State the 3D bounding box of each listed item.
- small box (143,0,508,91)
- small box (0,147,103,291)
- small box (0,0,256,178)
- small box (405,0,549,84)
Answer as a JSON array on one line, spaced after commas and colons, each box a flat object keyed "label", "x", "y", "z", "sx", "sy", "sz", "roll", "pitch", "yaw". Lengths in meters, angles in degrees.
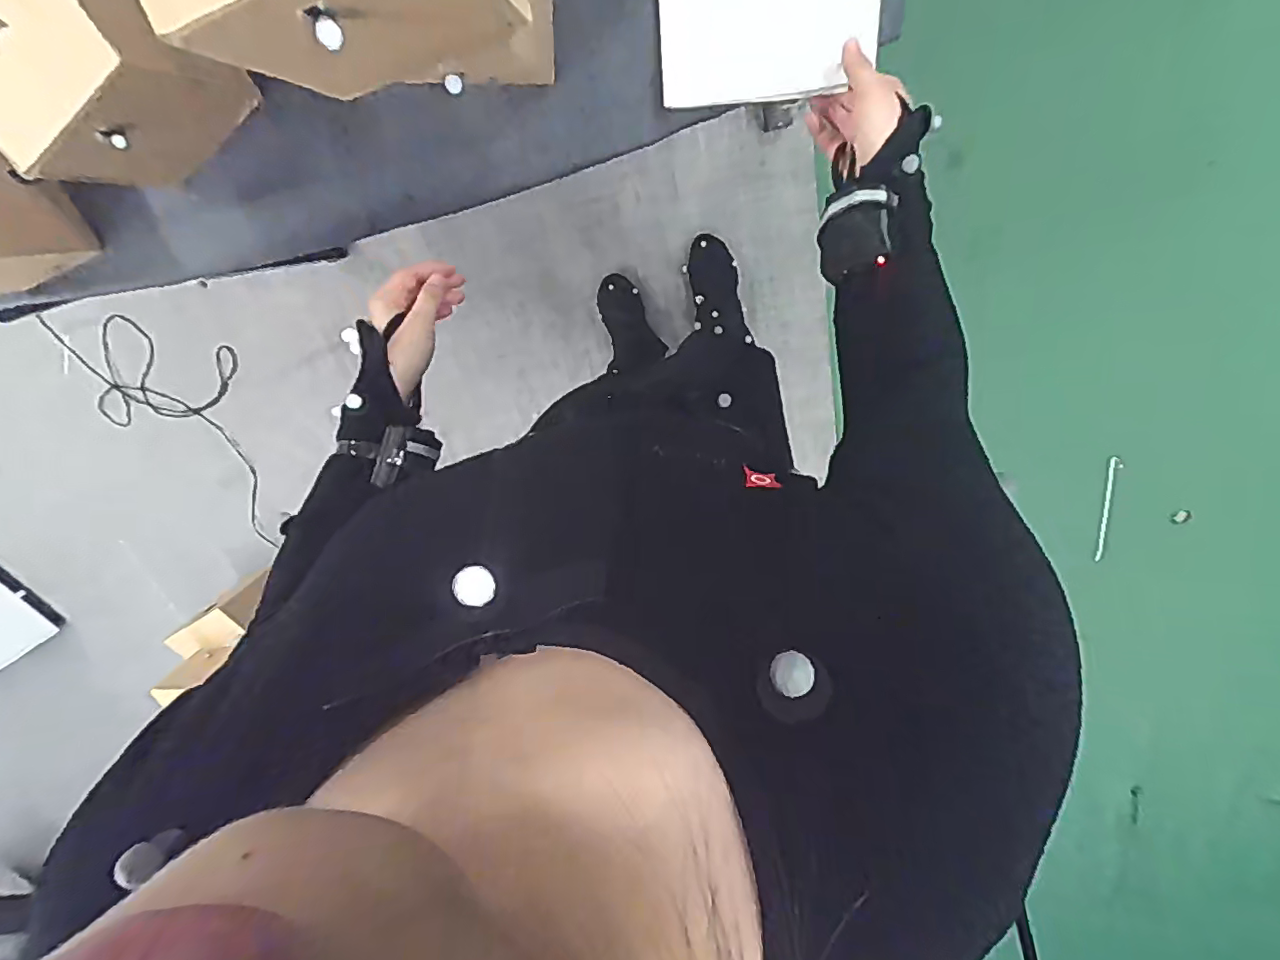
[{"label": "small box", "x": -0.196, "y": -0.367, "z": 0.325, "sx": 0.179, "sy": 0.176, "sz": 0.168, "roll": -10, "pitch": 114, "yaw": 14}, {"label": "small box", "x": -0.813, "y": -0.323, "z": 0.629, "sx": 0.168, "sy": 0.176, "sz": 0.179, "roll": -14, "pitch": 114, "yaw": 15}, {"label": "small box", "x": -0.543, "y": -0.425, "z": 0.537, "sx": 0.179, "sy": 0.176, "sz": 0.168, "roll": -24, "pitch": 111, "yaw": 19}, {"label": "small box", "x": -0.181, "y": -0.461, "z": 0.458, "sx": 0.168, "sy": 0.176, "sz": 0.179, "roll": 5, "pitch": 118, "yaw": 7}]
